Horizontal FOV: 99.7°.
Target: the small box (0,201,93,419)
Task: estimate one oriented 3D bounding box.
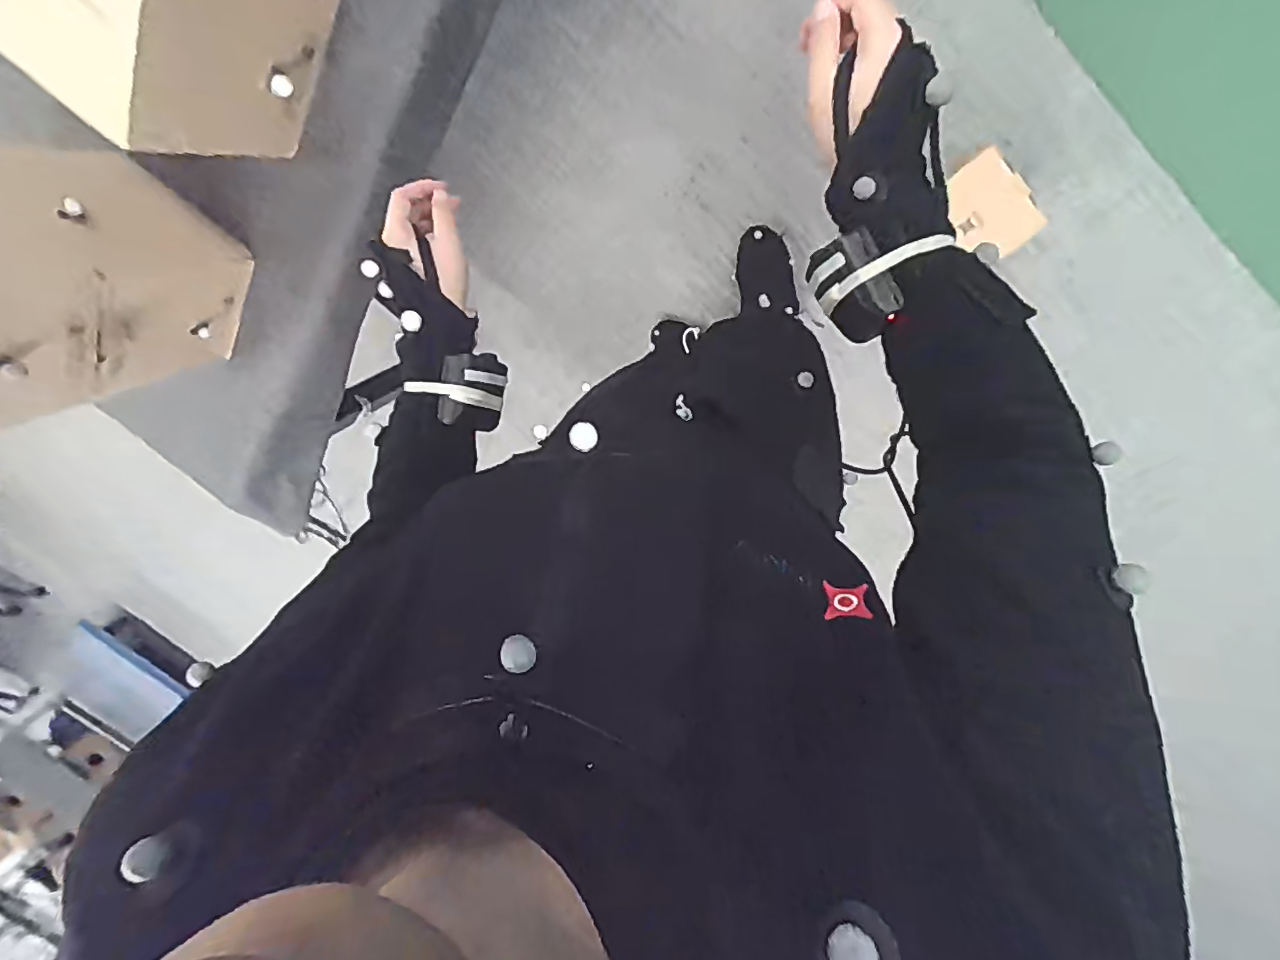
[{"bbox_3d":[-0.613,-0.152,0.444,0.179,0.176,0.168,37,122,-8],"label":"small box"}]

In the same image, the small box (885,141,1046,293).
[{"bbox_3d":[0.572,-0.475,0.975,0.168,0.176,0.179,45,122,-11],"label":"small box"}]

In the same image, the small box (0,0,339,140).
[{"bbox_3d":[-0.389,-0.400,0.428,0.179,0.176,0.168,40,122,-8],"label":"small box"}]

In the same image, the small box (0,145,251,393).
[{"bbox_3d":[-0.578,-0.229,0.584,0.179,0.176,0.168,38,121,-8],"label":"small box"}]
